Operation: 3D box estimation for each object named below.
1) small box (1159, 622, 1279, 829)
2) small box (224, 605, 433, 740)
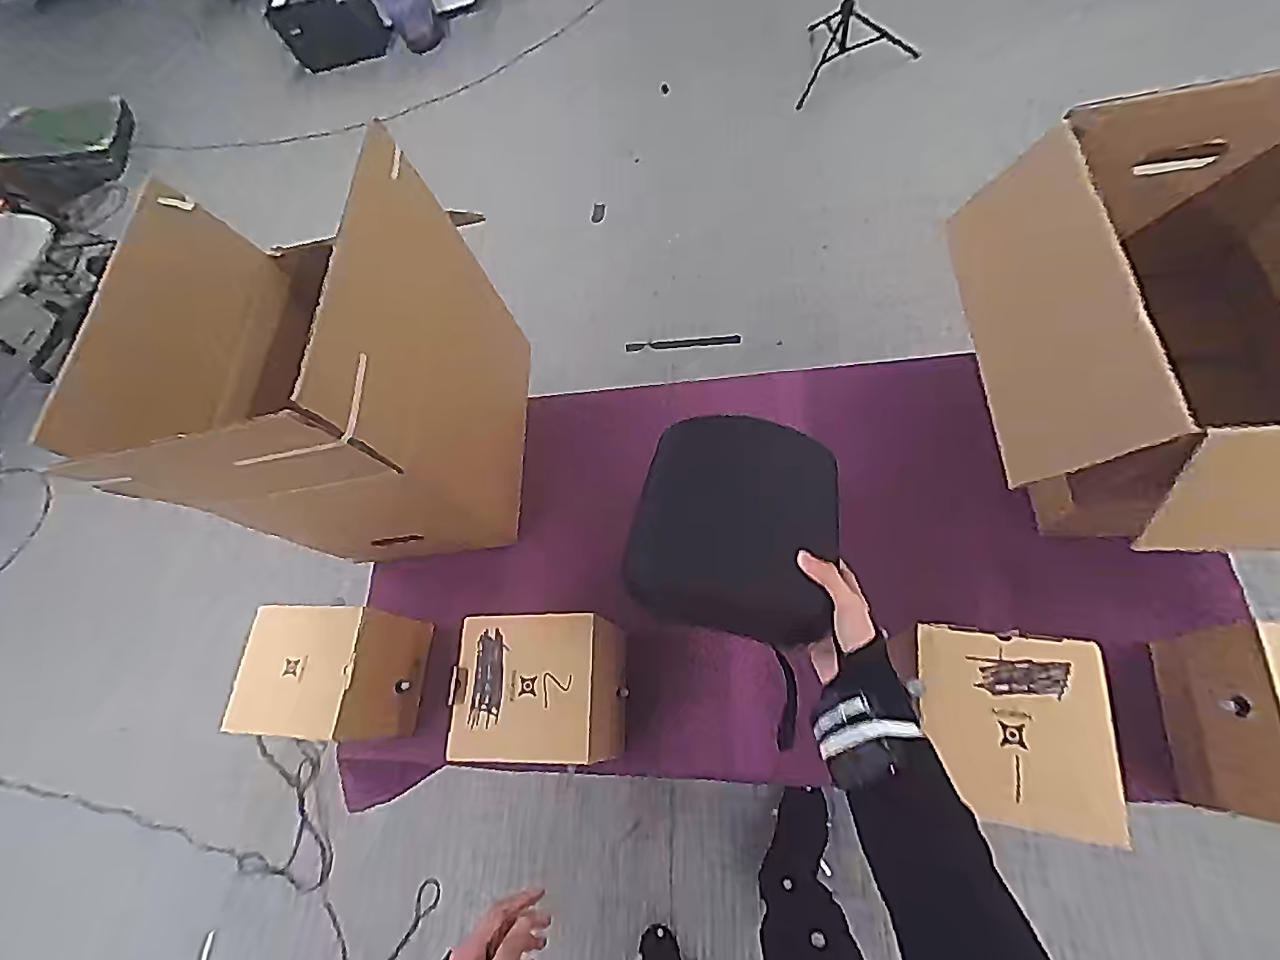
[{"bbox_3d":[0.657,0.248,0.521,0.168,0.176,0.179,3,67,16],"label":"small box"},{"bbox_3d":[-0.437,0.281,0.787,0.179,0.176,0.168,-2,66,12],"label":"small box"}]
